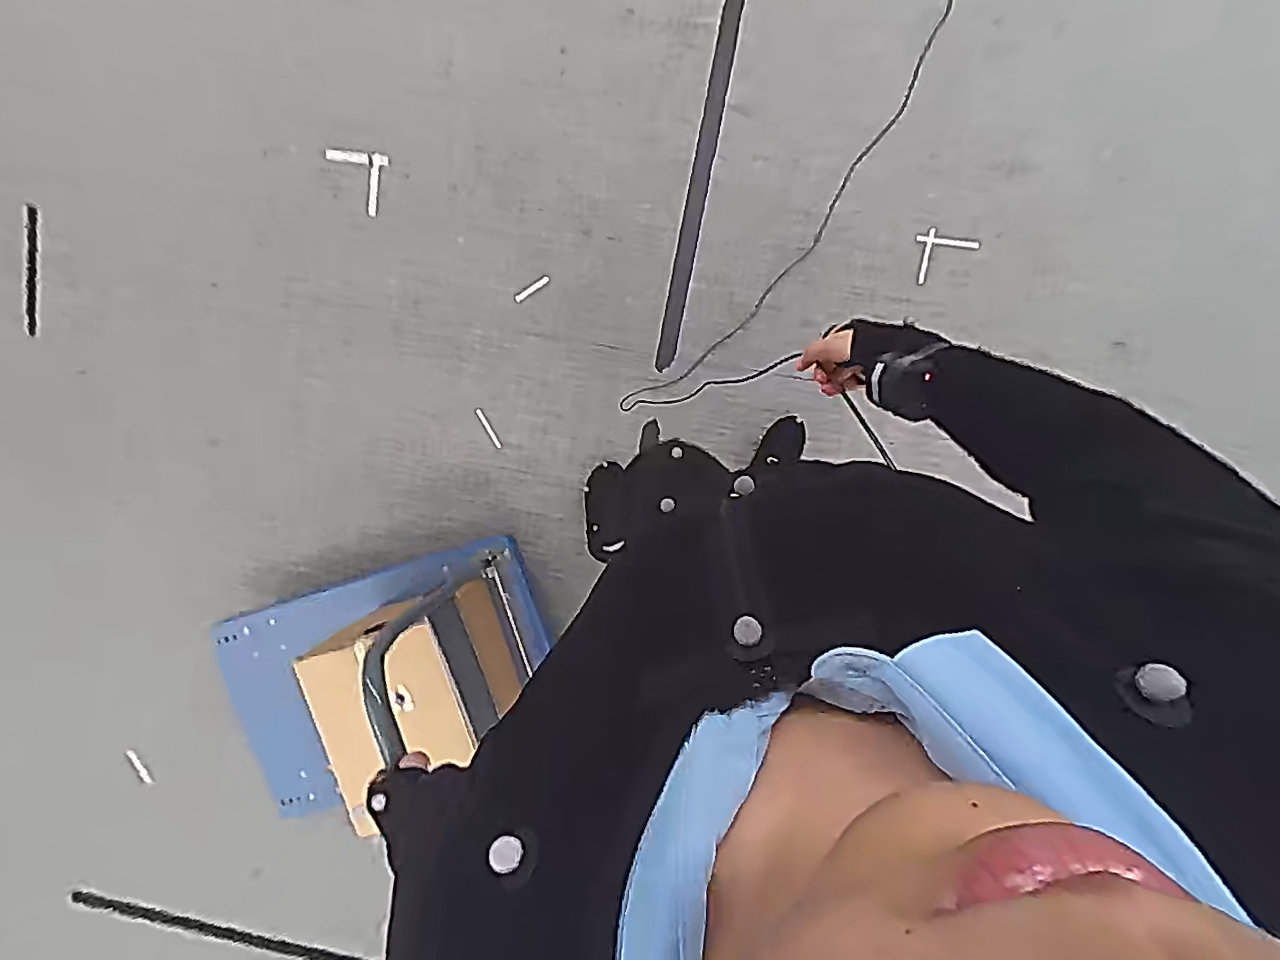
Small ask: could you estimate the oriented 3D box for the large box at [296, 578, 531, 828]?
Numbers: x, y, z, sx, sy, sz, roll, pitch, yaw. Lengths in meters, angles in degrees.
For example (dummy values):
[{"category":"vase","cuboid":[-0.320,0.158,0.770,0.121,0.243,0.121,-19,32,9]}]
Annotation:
[{"category":"large box","cuboid":[-0.495,0.494,1.262,0.320,0.320,0.408,-17,94,5]}]
